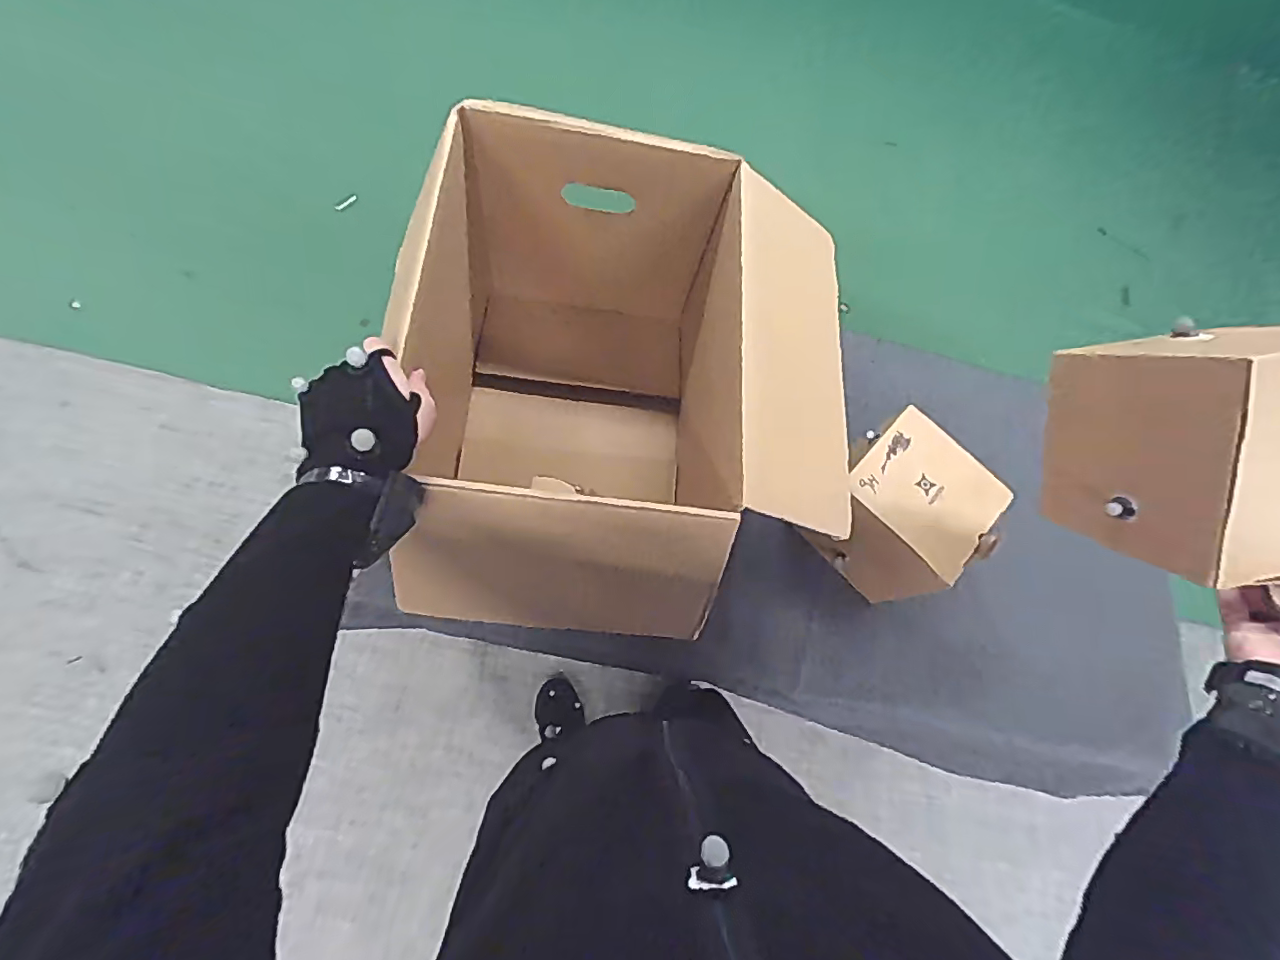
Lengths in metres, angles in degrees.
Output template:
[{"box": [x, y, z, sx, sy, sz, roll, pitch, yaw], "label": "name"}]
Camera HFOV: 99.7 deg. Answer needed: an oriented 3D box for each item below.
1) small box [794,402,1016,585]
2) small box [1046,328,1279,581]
[{"box": [0.352, 0.030, 0.748, 0.168, 0.176, 0.179, -42, 83, -17], "label": "small box"}, {"box": [0.496, -0.035, 0.470, 0.168, 0.176, 0.179, -9, 104, -3], "label": "small box"}]
